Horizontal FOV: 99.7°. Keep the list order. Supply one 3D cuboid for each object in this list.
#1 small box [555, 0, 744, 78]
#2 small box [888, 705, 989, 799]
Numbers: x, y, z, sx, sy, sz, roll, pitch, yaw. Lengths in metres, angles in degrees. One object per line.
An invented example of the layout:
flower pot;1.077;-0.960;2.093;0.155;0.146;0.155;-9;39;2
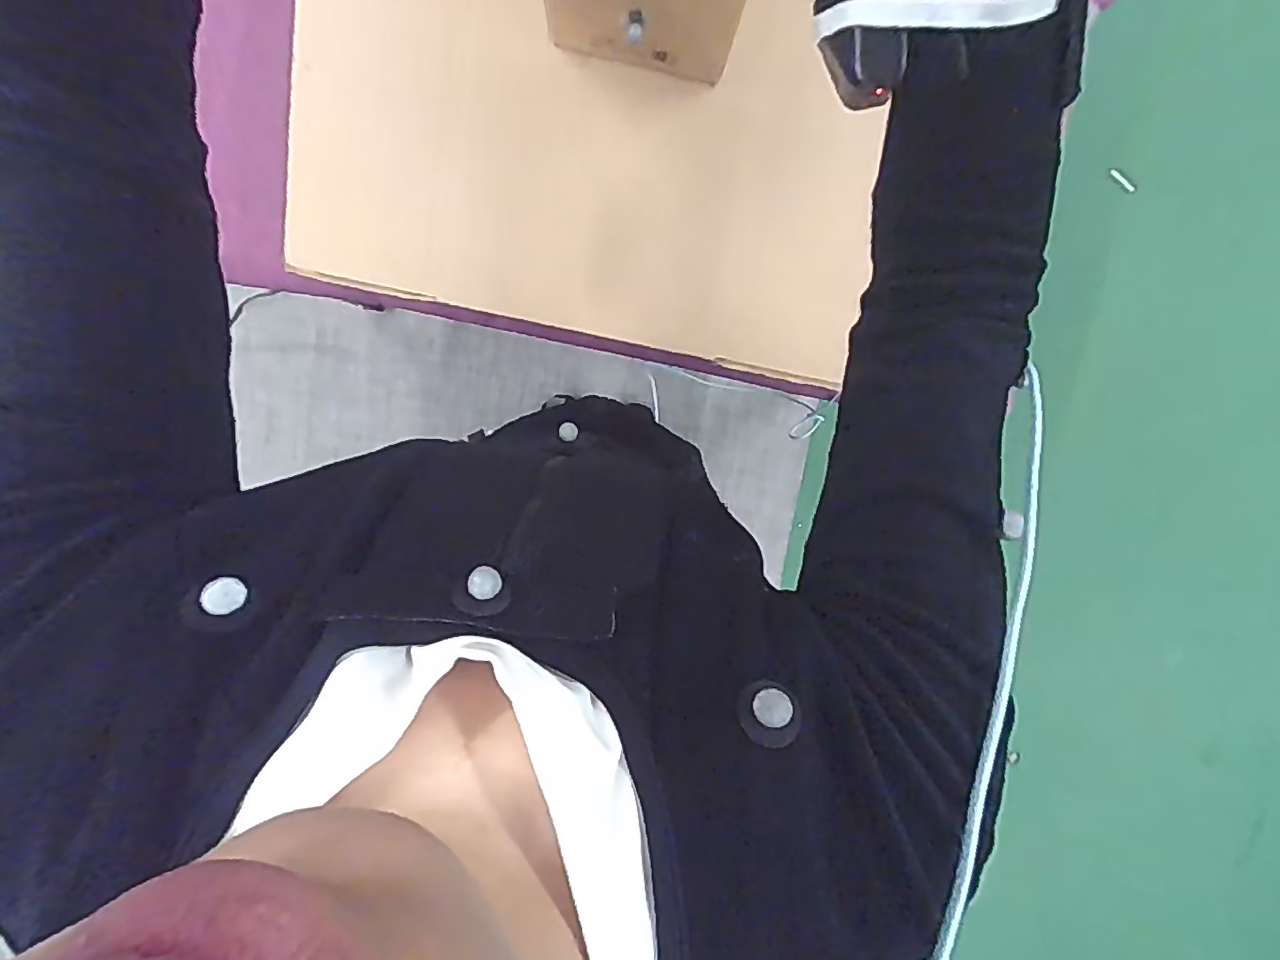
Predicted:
small box;0.018;-0.472;0.422;0.168;0.176;0.179;11;96;-4
small box;0.851;0.776;1.560;0.179;0.176;0.168;12;98;-5
